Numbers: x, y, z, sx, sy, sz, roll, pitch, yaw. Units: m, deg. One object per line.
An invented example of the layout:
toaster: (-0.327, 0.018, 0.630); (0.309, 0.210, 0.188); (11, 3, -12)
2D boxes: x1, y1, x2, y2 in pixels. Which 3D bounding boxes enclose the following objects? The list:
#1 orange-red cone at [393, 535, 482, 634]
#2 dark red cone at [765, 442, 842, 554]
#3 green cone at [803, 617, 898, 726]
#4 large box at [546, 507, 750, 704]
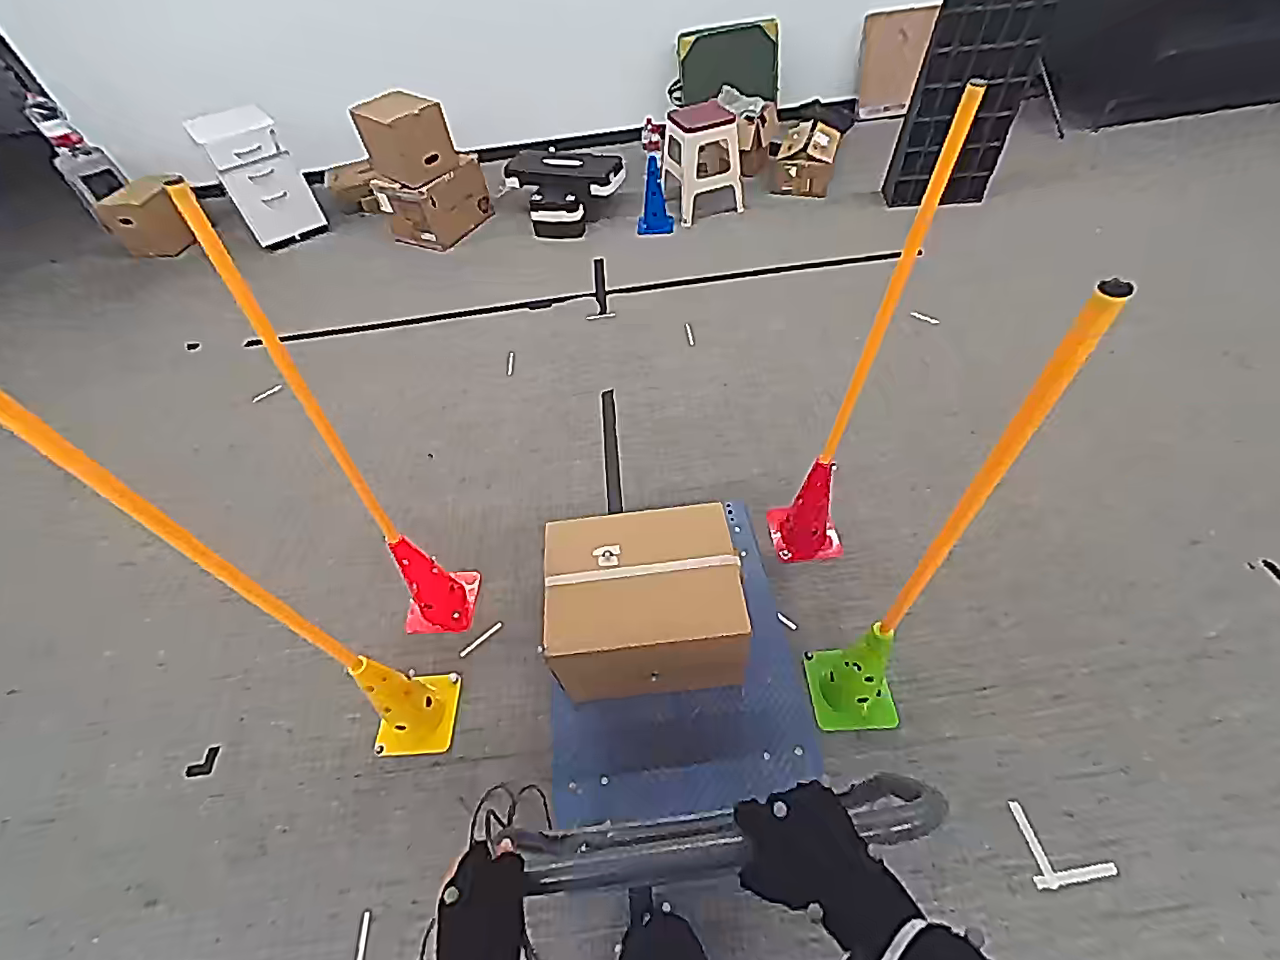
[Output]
orange-red cone: (-0.611, 0.267, 1.532); (0.198, 0.360, 0.199); (-1, 49, 4)
dark red cone: (0.500, 0.039, 1.565); (0.201, 0.394, 0.202); (-6, 51, -1)
green cone: (0.528, 0.422, 1.269); (0.202, 0.368, 0.200); (-4, 50, 2)
large box: (0.016, 0.297, 1.247); (0.408, 0.320, 0.320); (-8, 51, 1)
